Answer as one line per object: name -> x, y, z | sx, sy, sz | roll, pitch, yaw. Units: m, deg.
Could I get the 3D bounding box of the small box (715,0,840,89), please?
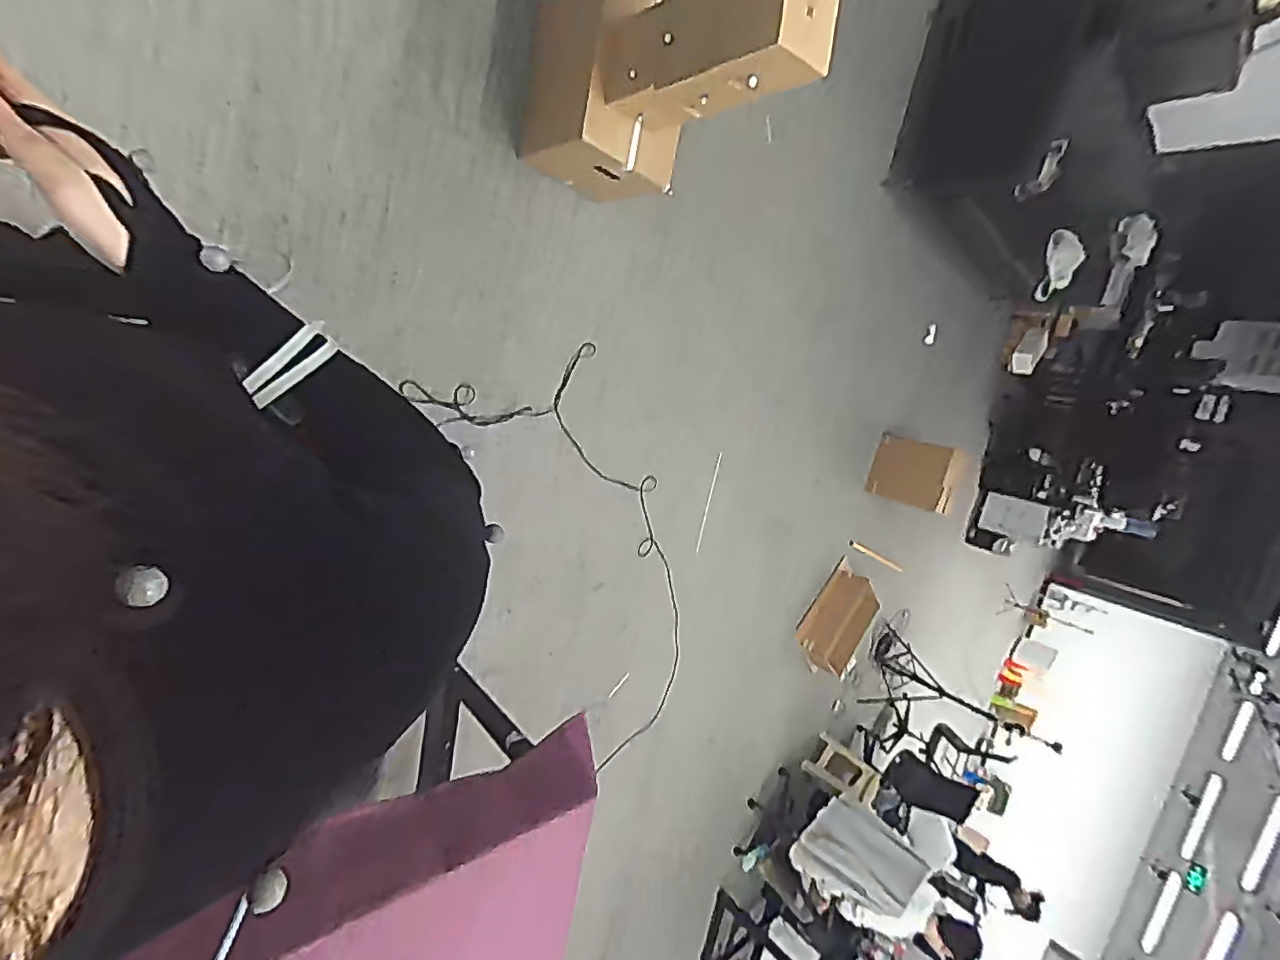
small box -> 0.265, -0.904, 1.051 | 0.168, 0.176, 0.179 | -8, 111, -40

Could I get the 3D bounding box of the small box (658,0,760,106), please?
small box -> 0.158, -0.945, 1.169 | 0.168, 0.176, 0.179 | -8, 111, -40

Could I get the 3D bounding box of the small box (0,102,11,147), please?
small box -> -0.420, -0.242, 0.217 | 0.168, 0.176, 0.179 | -22, 125, -34
